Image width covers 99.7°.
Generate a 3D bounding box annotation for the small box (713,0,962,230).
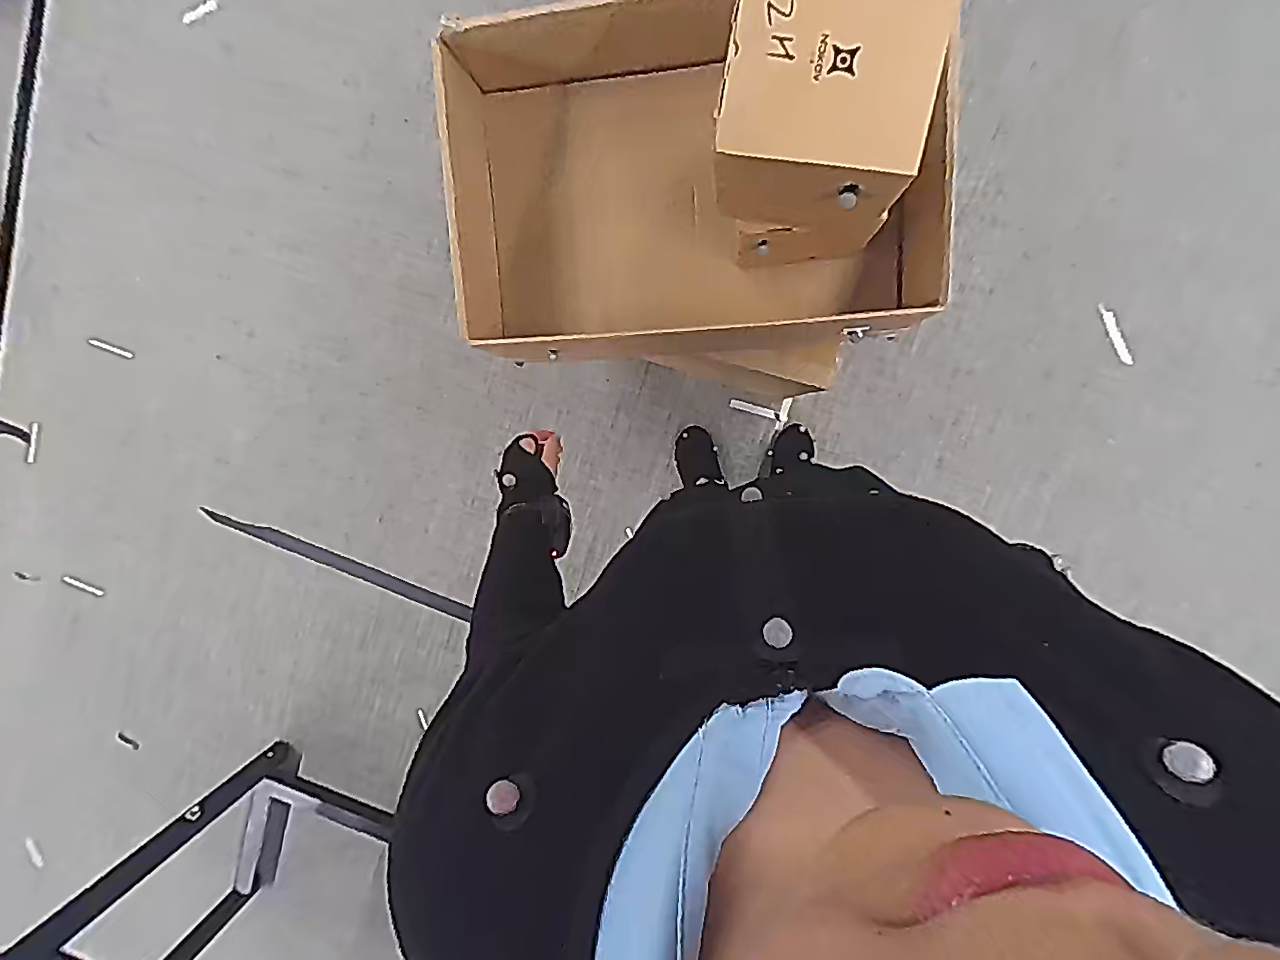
[{"bbox_3d":[0.174,-0.359,0.527,0.179,0.176,0.168,11,99,8],"label":"small box"}]
